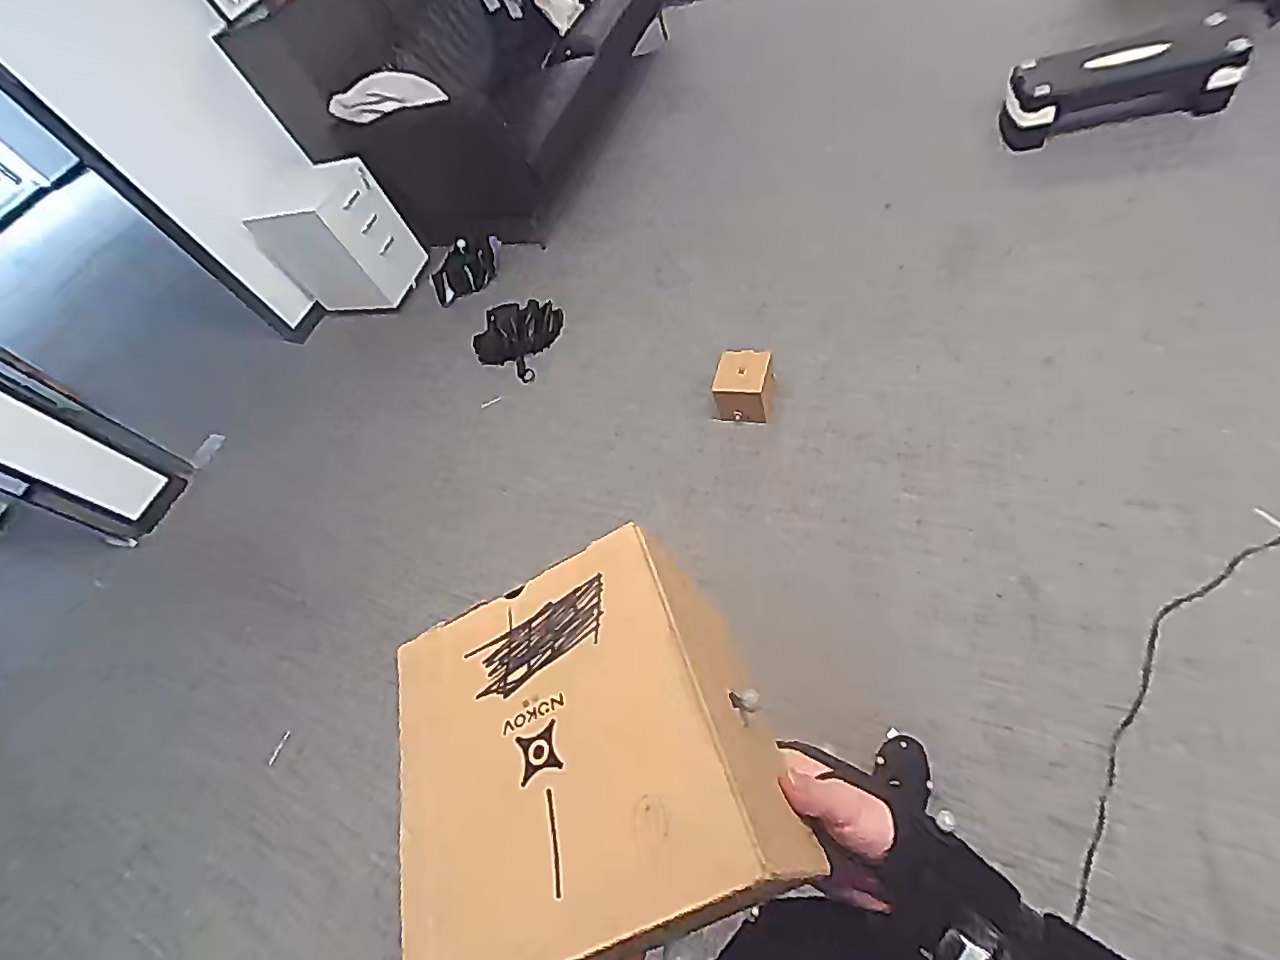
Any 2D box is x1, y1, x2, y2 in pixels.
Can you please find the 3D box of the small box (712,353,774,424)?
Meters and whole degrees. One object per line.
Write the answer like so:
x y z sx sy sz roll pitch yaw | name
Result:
0.356 -0.313 1.841 0.168 0.176 0.179 6 62 25 | small box

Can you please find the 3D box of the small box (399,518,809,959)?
-0.020 0.161 0.331 0.168 0.176 0.179 -29 49 8 | small box
